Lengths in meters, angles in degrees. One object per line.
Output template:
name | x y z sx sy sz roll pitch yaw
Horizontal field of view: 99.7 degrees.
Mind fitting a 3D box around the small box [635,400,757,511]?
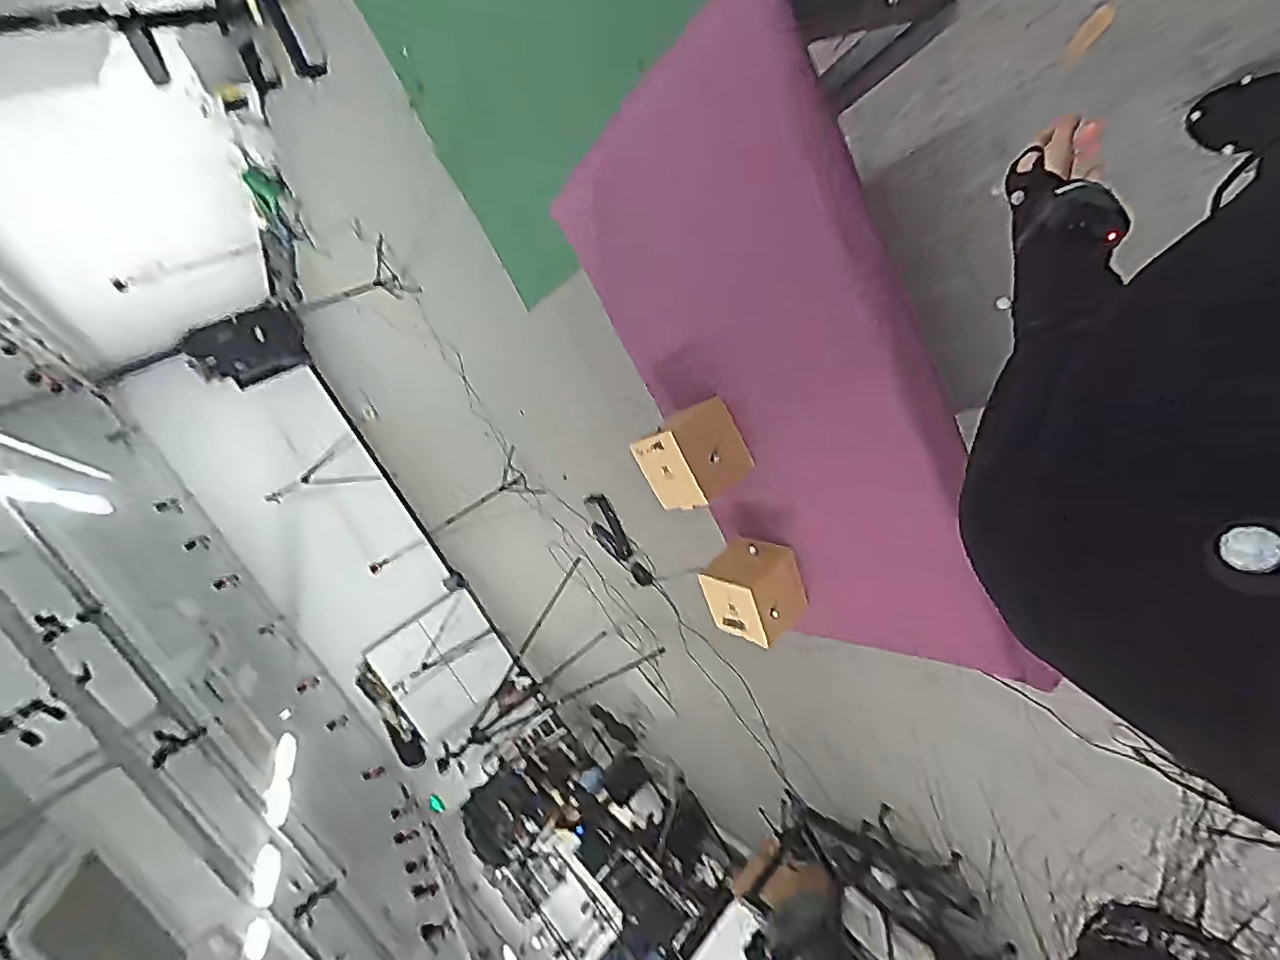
small box | 0.128 -0.051 1.200 0.168 0.176 0.179 -13 111 56

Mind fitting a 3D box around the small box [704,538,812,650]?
small box | 0.288 0.268 1.299 0.168 0.176 0.179 7 125 51
